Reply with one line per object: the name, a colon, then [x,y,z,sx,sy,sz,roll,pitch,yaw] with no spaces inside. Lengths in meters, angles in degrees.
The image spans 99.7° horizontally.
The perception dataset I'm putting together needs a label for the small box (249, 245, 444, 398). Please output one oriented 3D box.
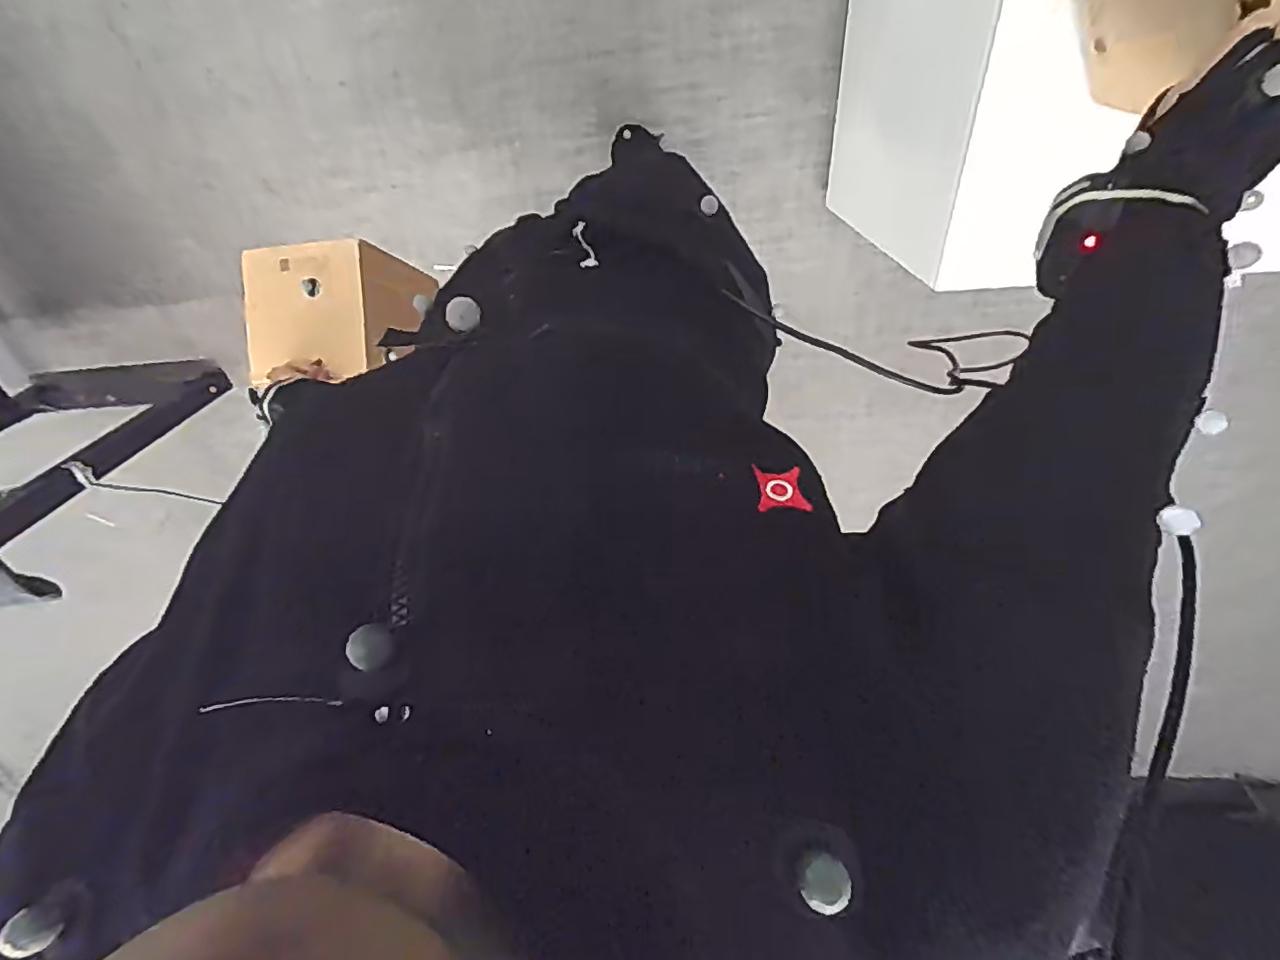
small box: [-0.390,-0.205,0.739,0.168,0.179,0.176,-1,94,11]
